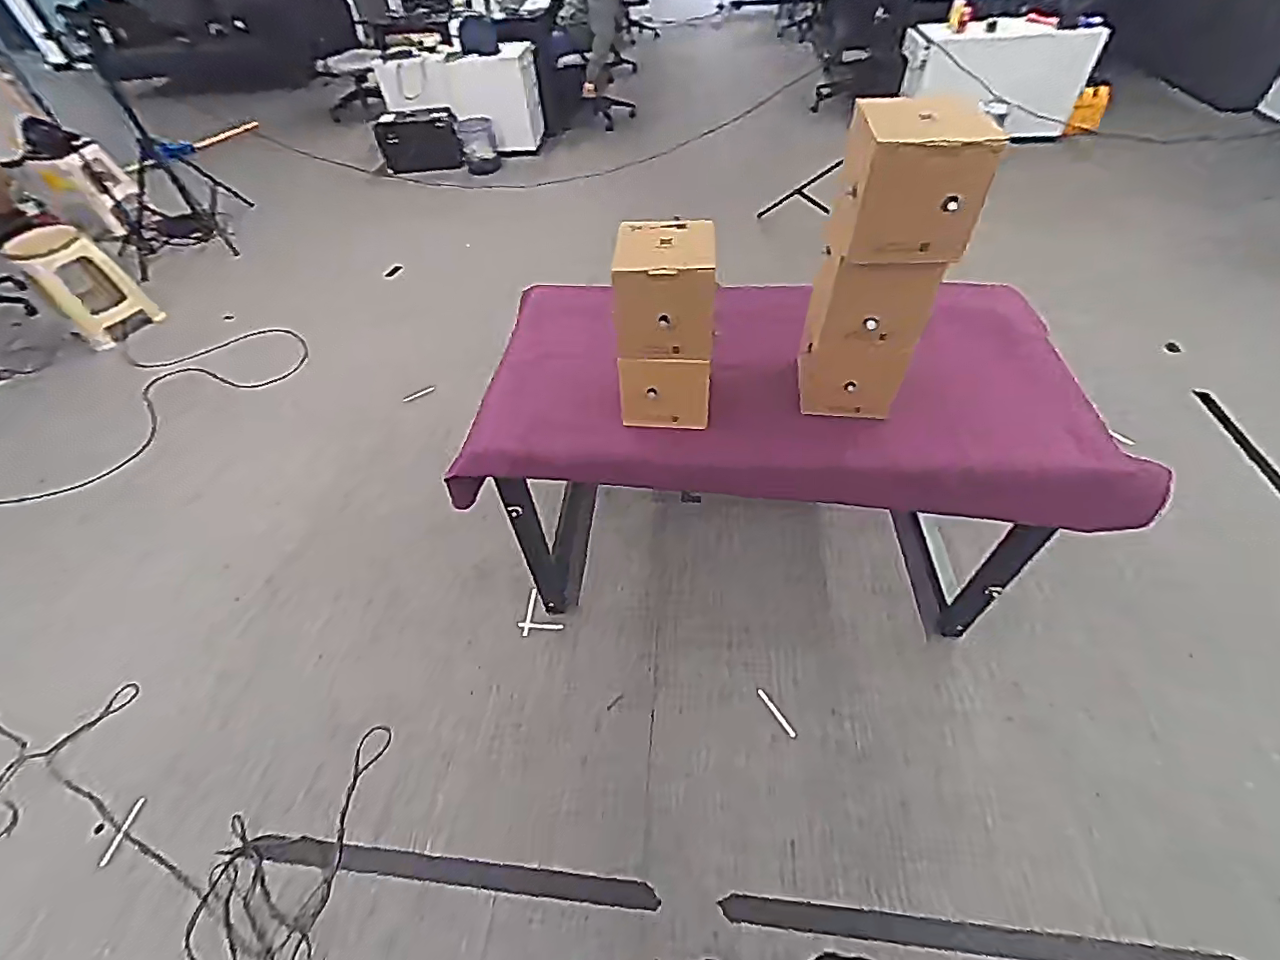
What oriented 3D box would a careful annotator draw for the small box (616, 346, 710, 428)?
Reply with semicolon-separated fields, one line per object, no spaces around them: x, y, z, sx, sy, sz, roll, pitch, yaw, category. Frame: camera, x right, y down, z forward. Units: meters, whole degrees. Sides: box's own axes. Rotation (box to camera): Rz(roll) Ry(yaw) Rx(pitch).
0.053;-0.220;1.067;0.168;0.176;0.179;3;49;6;small box

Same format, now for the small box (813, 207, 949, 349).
0.403;-0.352;0.939;0.168;0.176;0.179;4;51;7;small box

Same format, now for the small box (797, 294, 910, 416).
0.408;-0.243;1.062;0.168;0.176;0.179;5;50;7;small box

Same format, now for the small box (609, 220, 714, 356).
0.044;-0.332;0.947;0.168;0.176;0.179;1;49;4;small box

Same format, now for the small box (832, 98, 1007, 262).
0.394;-0.440;0.801;0.168;0.176;0.179;2;50;5;small box
